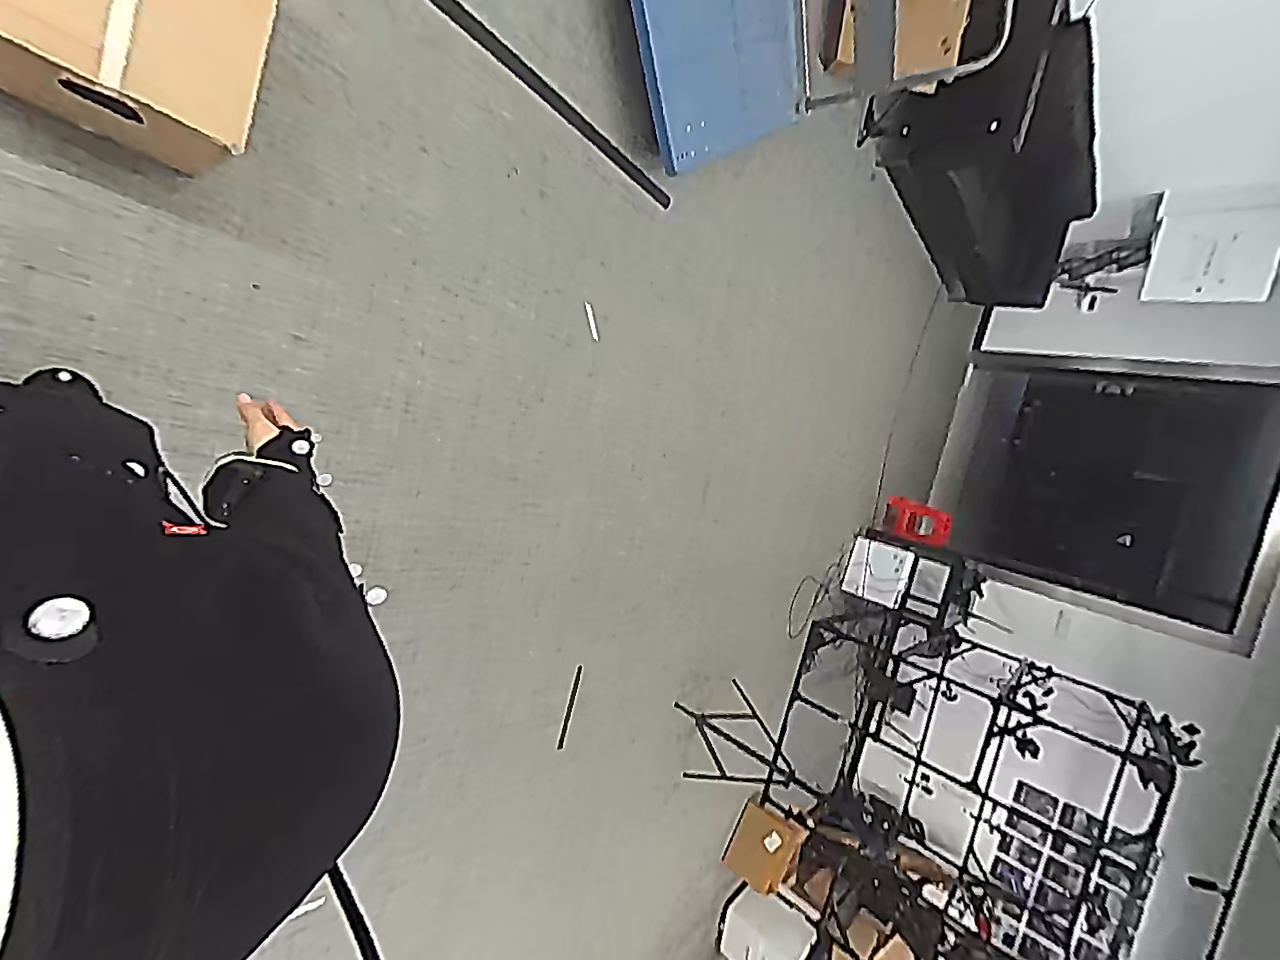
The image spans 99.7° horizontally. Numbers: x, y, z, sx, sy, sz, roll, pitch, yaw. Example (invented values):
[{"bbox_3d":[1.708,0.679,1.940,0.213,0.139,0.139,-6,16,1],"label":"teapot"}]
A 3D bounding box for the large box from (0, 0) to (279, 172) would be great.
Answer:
[{"bbox_3d":[-0.776,-0.757,0.814,0.320,0.320,0.408,11,96,-50],"label":"large box"}]
